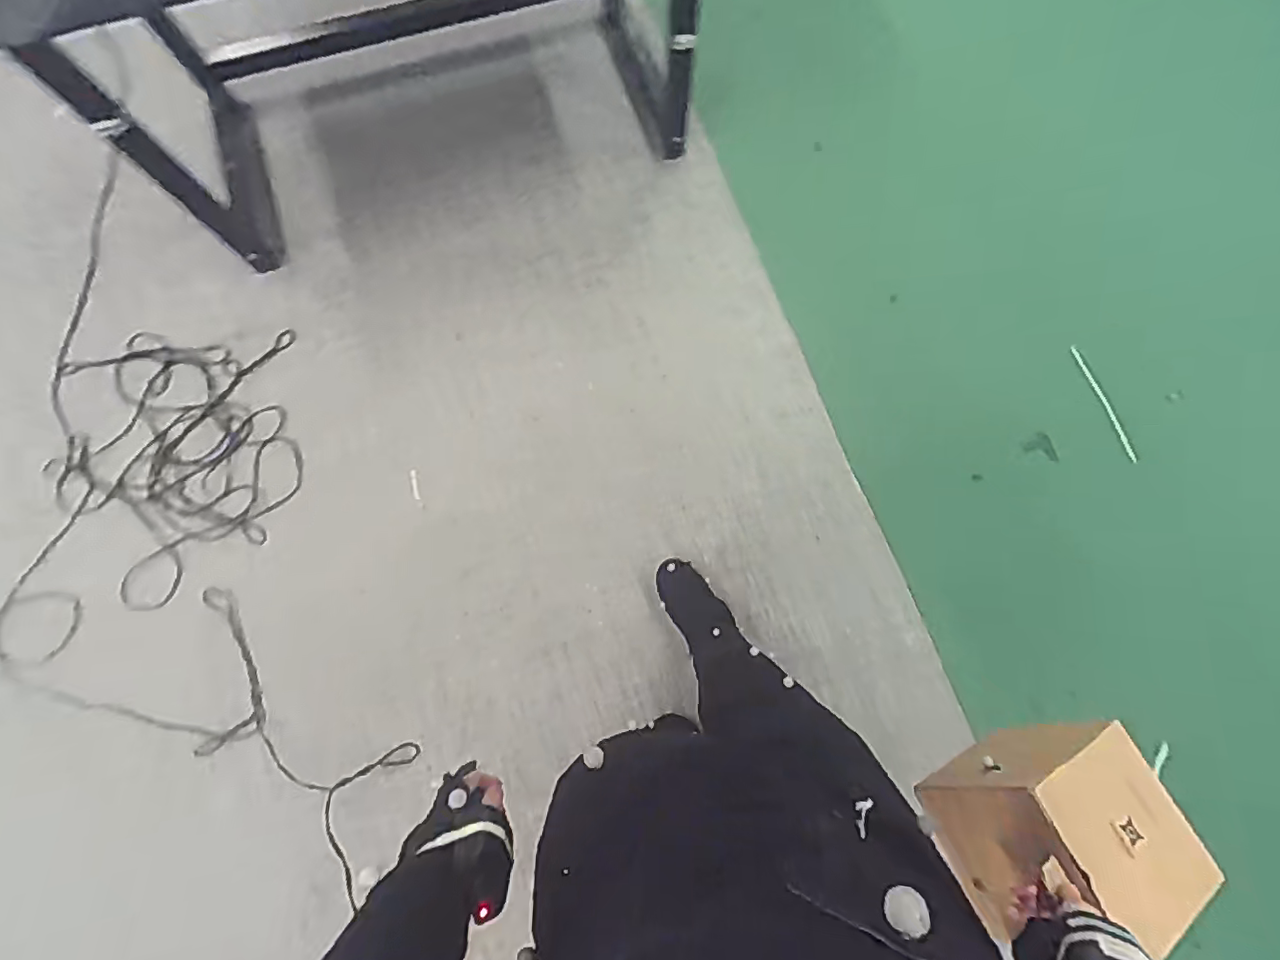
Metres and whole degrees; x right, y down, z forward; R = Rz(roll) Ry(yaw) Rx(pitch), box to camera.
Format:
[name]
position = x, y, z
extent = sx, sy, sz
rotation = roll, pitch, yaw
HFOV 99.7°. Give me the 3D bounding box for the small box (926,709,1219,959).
[small box]
position = 0.462, 0.381, 0.607
extent = 0.179, 0.176, 0.168
rotation = -14, 68, -27
